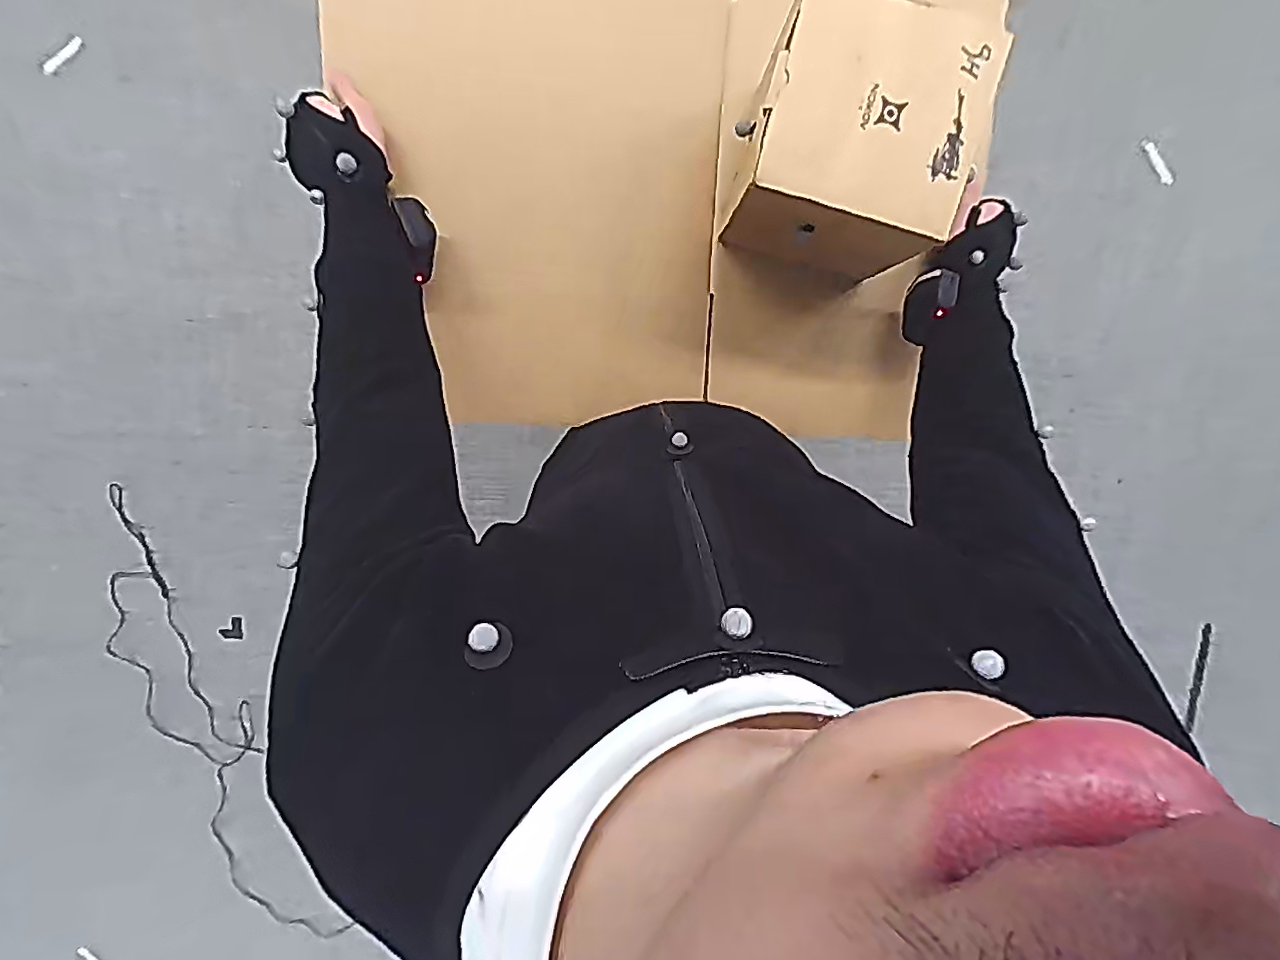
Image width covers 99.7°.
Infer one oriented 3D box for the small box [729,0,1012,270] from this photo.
[{"bbox_3d":[0.197,-0.320,0.524,0.179,0.176,0.168,15,99,-3],"label":"small box"}]
